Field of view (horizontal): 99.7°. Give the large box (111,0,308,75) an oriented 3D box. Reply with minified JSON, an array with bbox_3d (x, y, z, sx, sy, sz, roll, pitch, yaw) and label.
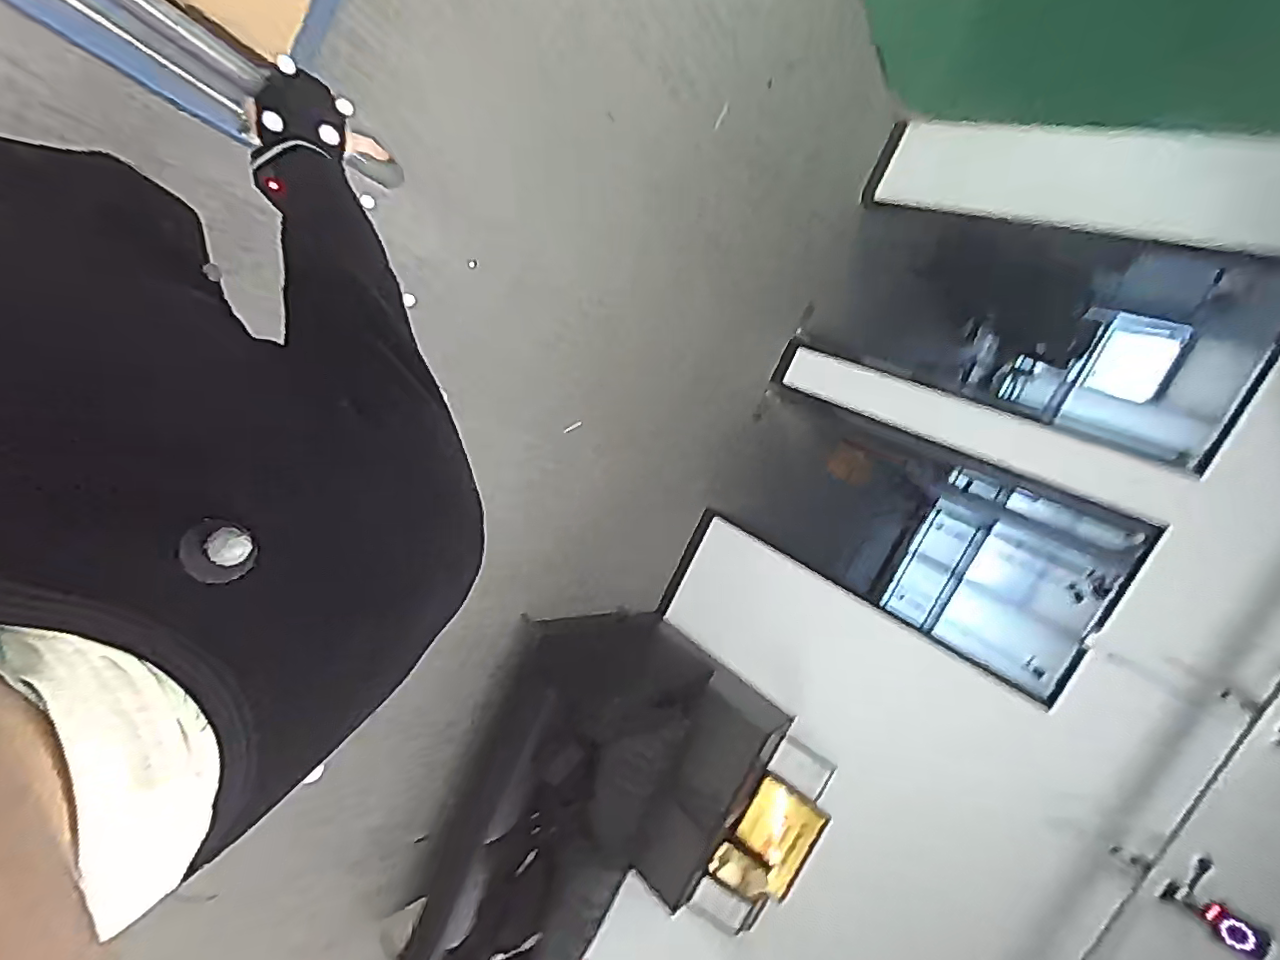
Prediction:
[{"bbox_3d":[-0.682,-0.909,0.801,0.320,0.320,0.408,17,101,-56],"label":"large box"}]
